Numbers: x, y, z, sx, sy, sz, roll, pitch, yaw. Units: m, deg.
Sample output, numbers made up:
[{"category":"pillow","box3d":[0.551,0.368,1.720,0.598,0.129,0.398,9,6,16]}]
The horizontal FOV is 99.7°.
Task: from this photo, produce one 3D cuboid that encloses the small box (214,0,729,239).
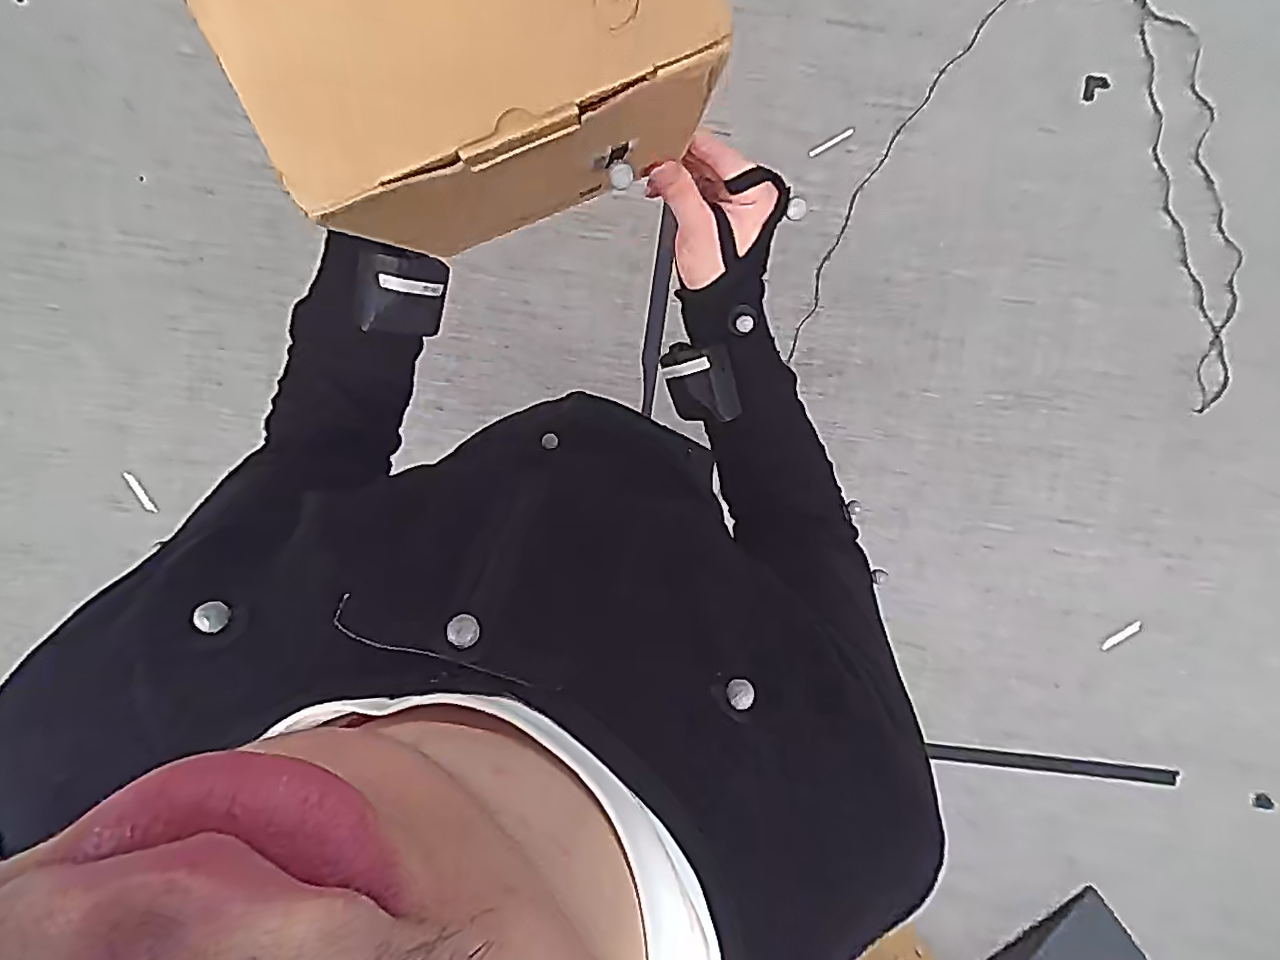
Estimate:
[{"category":"small box","box3d":[-0.076,-0.226,0.247,0.168,0.176,0.179,-21,108,2]}]
